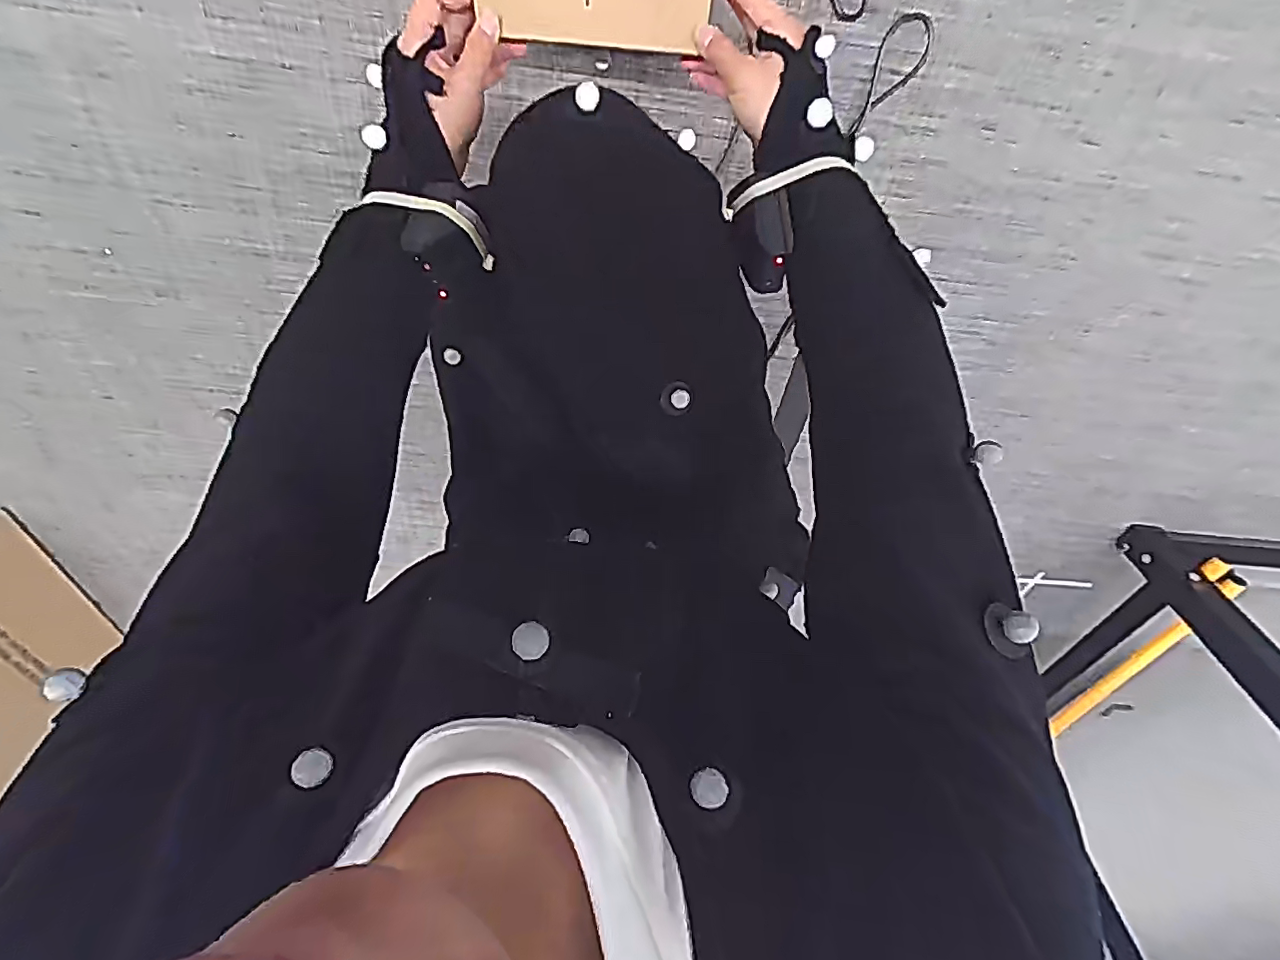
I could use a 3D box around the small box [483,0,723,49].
[{"bbox_3d":[-0.015,-0.429,0.386,0.168,0.176,0.179,6,129,0],"label":"small box"}]
